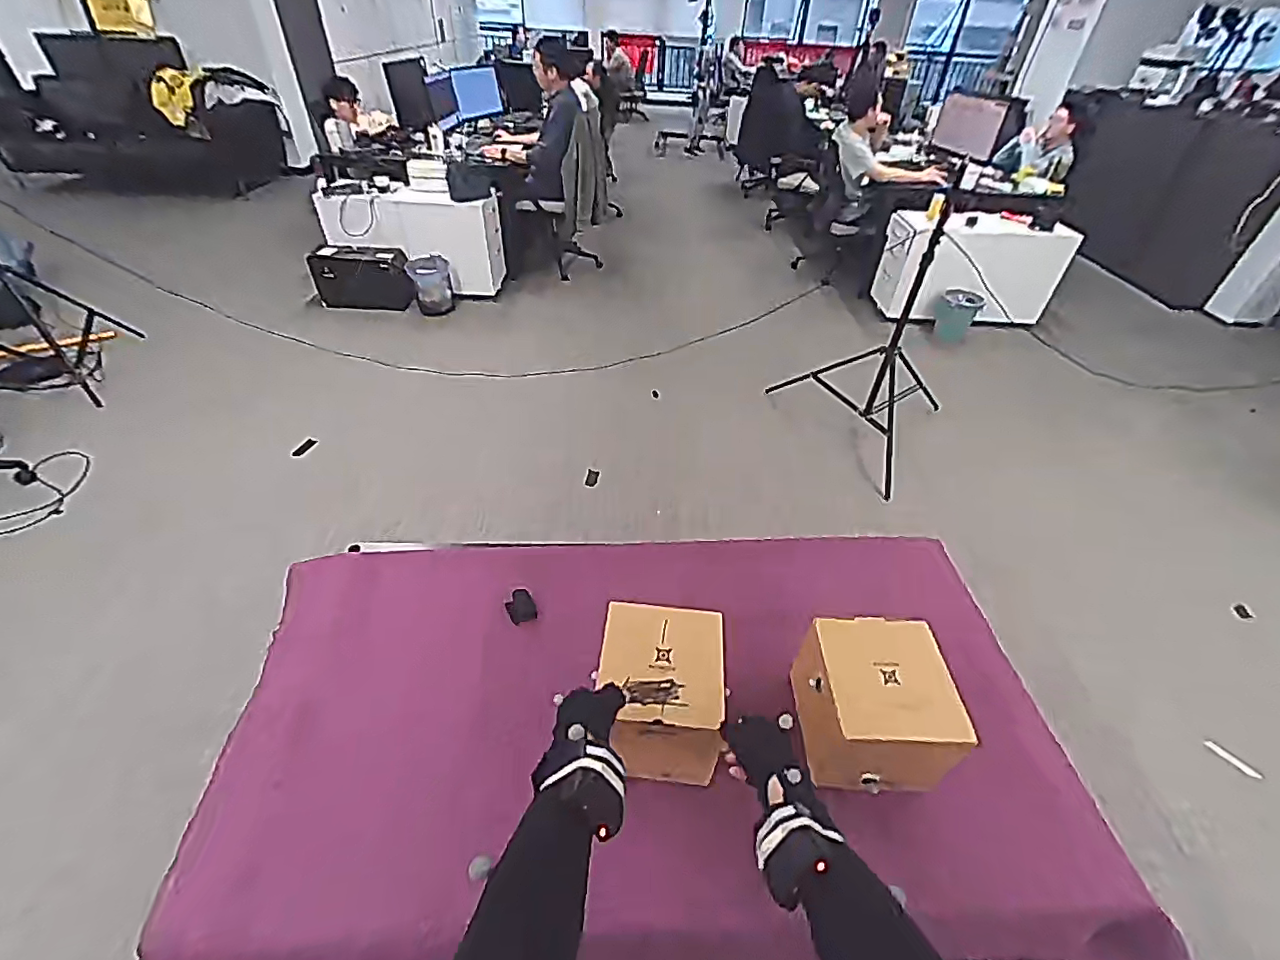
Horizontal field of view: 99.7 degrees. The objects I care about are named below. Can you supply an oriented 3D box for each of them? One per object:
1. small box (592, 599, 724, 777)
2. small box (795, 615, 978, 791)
[{"bbox_3d":[0.028,0.297,0.771,0.168,0.176,0.179,6,40,3],"label":"small box"},{"bbox_3d":[0.330,0.316,0.771,0.168,0.176,0.179,2,42,0],"label":"small box"}]
